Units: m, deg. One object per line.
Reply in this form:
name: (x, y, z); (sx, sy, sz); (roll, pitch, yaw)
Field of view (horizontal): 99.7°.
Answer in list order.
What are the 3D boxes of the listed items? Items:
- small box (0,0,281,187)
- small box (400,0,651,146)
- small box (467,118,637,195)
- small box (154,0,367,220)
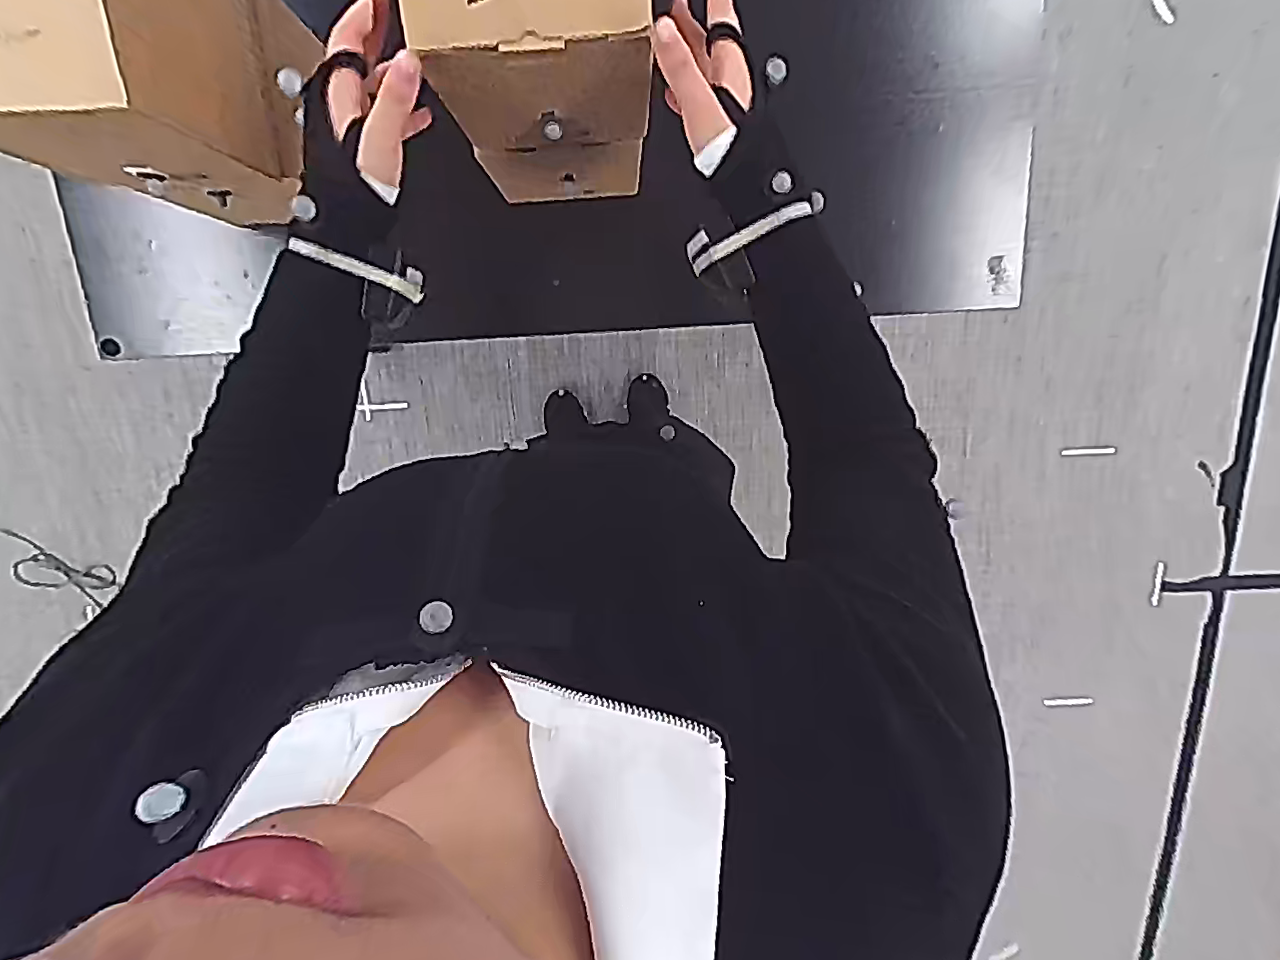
small box: (-0.423, -0.351, 0.422); (0.168, 0.176, 0.179); (-3, 103, 0)
small box: (-0.082, -0.394, 0.421); (0.168, 0.176, 0.179); (-4, 101, 0)
small box: (-0.090, -0.423, 0.584); (0.168, 0.176, 0.179); (-4, 102, -1)
small box: (-0.426, -0.387, 0.580); (0.179, 0.176, 0.168); (-2, 102, -2)
